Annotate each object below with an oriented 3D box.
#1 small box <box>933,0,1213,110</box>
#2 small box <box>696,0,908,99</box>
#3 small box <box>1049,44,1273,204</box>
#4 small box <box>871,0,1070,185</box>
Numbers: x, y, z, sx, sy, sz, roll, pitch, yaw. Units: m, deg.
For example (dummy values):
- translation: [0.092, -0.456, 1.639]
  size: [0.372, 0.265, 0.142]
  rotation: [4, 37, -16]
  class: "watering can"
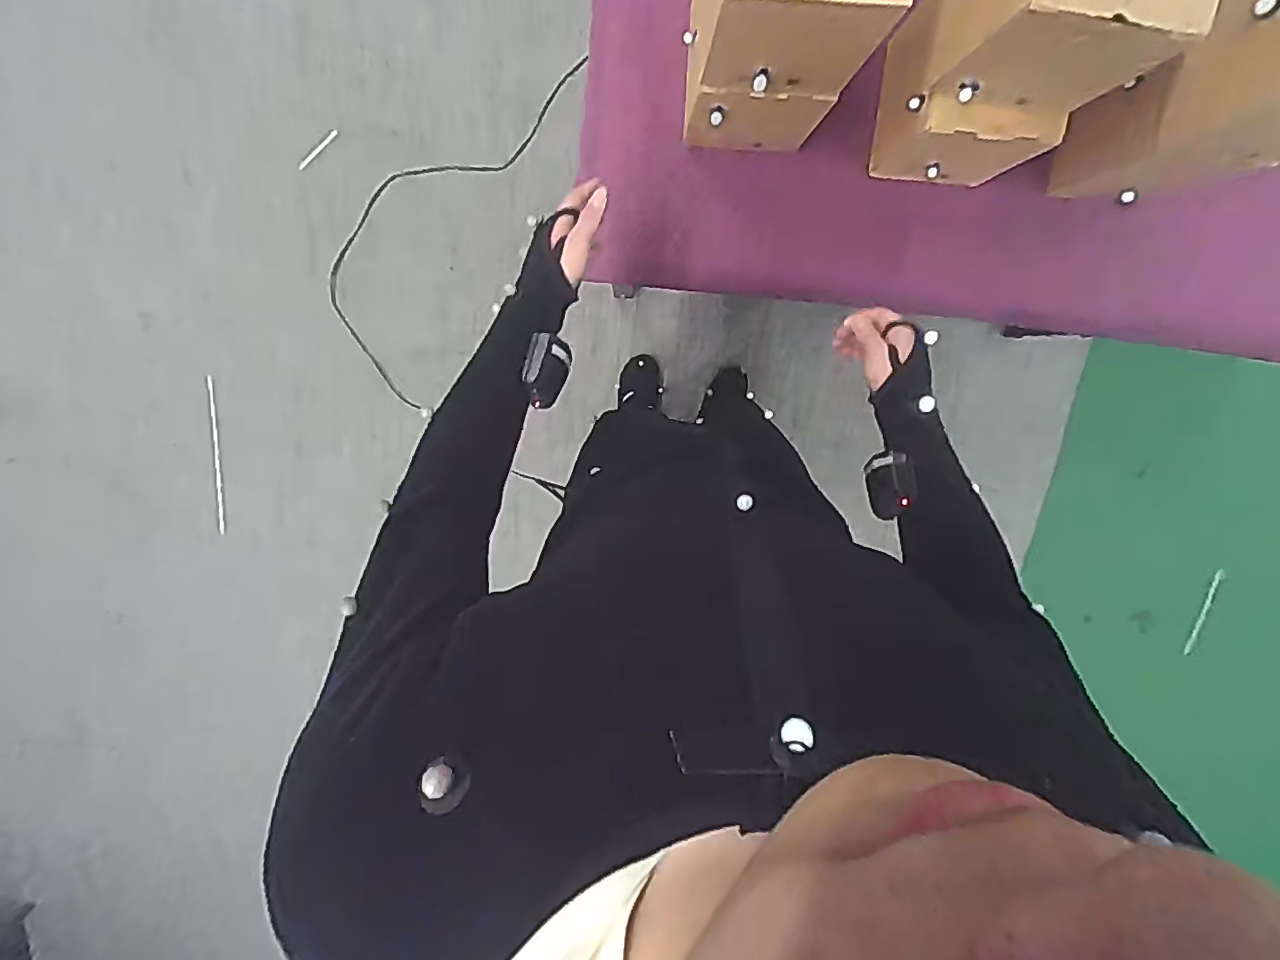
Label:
- translation: [0.421, -0.500, 0.529]
  size: [0.168, 0.176, 0.179]
  rotation: [8, 102, -4]
  class: "small box"
- translation: [0.149, -0.507, 0.517]
  size: [0.168, 0.176, 0.179]
  rotation: [3, 103, -2]
  class: "small box"
- translation: [0.685, -0.483, 0.706]
  size: [0.168, 0.176, 0.179]
  rotation: [2, 103, -2]
  class: "small box"
- translation: [0.421, -0.506, 0.696]
  size: [0.168, 0.176, 0.179]
  rotation: [3, 104, -3]
  class: "small box"
